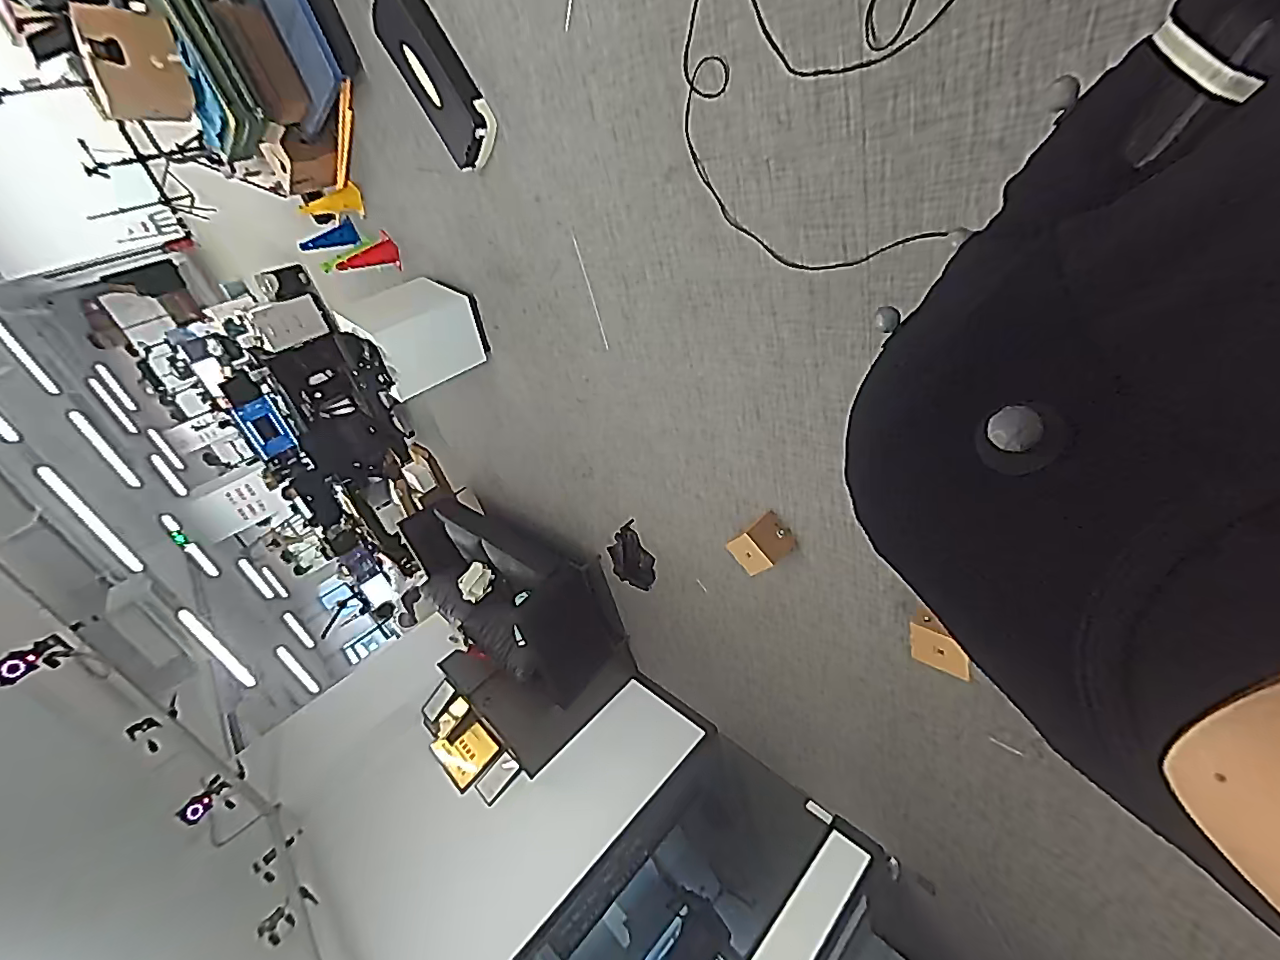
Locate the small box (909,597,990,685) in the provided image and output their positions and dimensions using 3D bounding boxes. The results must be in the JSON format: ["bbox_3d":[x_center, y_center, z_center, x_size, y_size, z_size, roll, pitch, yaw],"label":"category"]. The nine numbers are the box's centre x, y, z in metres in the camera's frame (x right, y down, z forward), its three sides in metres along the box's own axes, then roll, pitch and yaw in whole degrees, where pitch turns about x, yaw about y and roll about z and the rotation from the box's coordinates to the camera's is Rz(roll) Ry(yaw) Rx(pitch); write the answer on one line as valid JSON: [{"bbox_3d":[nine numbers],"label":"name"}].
[{"bbox_3d":[0.974,0.497,1.698,0.179,0.176,0.168,18,135,47],"label":"small box"}]

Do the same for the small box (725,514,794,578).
[{"bbox_3d":[0.482,0.264,2.164,0.168,0.176,0.179,49,149,6],"label":"small box"}]
